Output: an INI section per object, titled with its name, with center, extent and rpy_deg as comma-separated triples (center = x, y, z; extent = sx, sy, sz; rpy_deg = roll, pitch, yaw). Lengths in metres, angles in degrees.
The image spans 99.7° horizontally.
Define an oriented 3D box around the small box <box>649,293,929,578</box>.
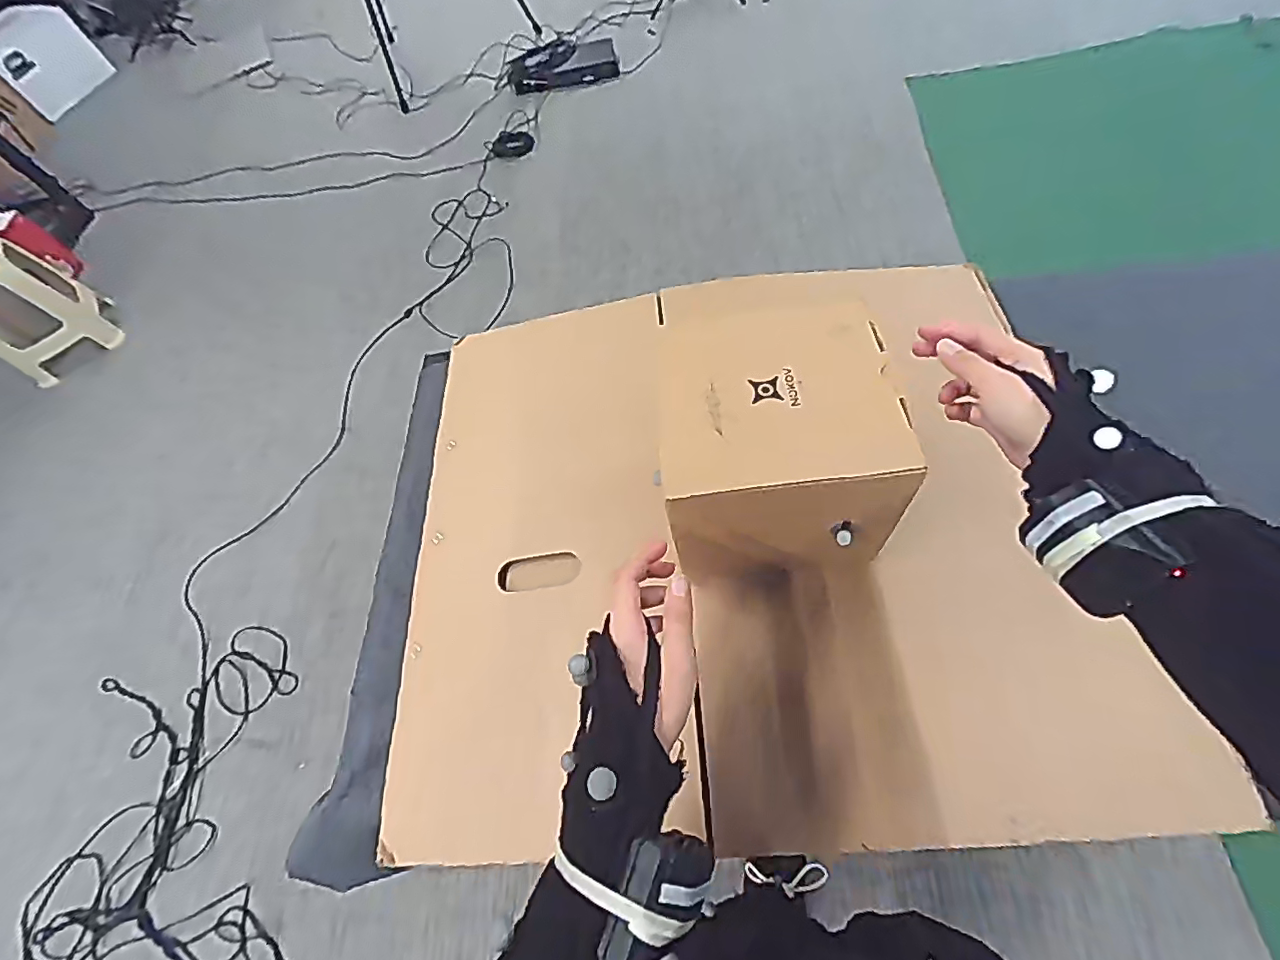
[small box]
center = 0.109, -0.027, 0.464
extent = 0.179, 0.176, 0.168
rpy_deg = -8, 59, 6
